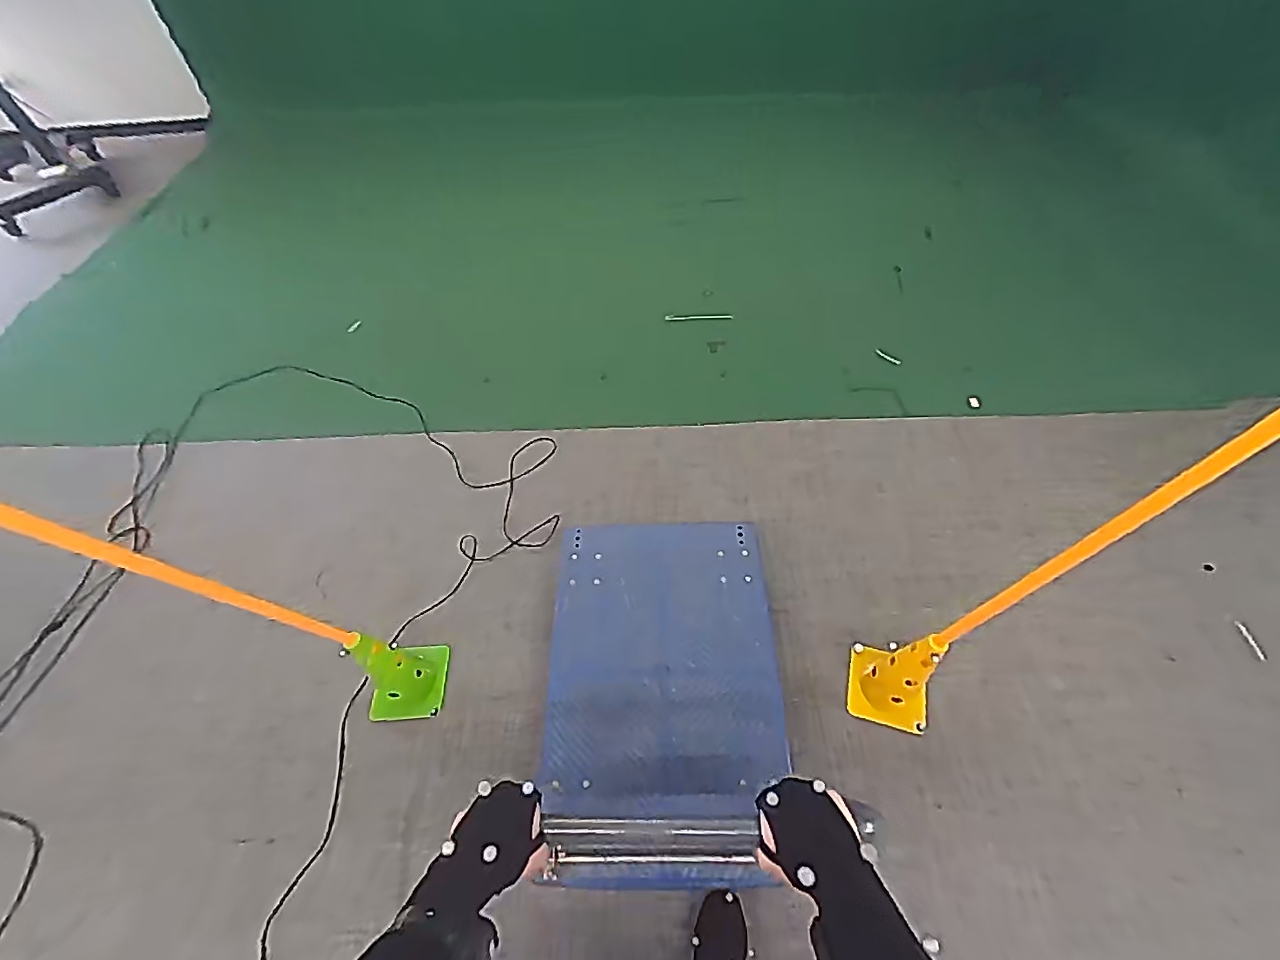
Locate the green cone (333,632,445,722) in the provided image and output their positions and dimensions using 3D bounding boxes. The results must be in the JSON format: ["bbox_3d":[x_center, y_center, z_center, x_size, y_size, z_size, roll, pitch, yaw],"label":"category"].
[{"bbox_3d":[-0.670,0.469,1.388,0.202,0.368,0.200,-6,53,1],"label":"green cone"}]
